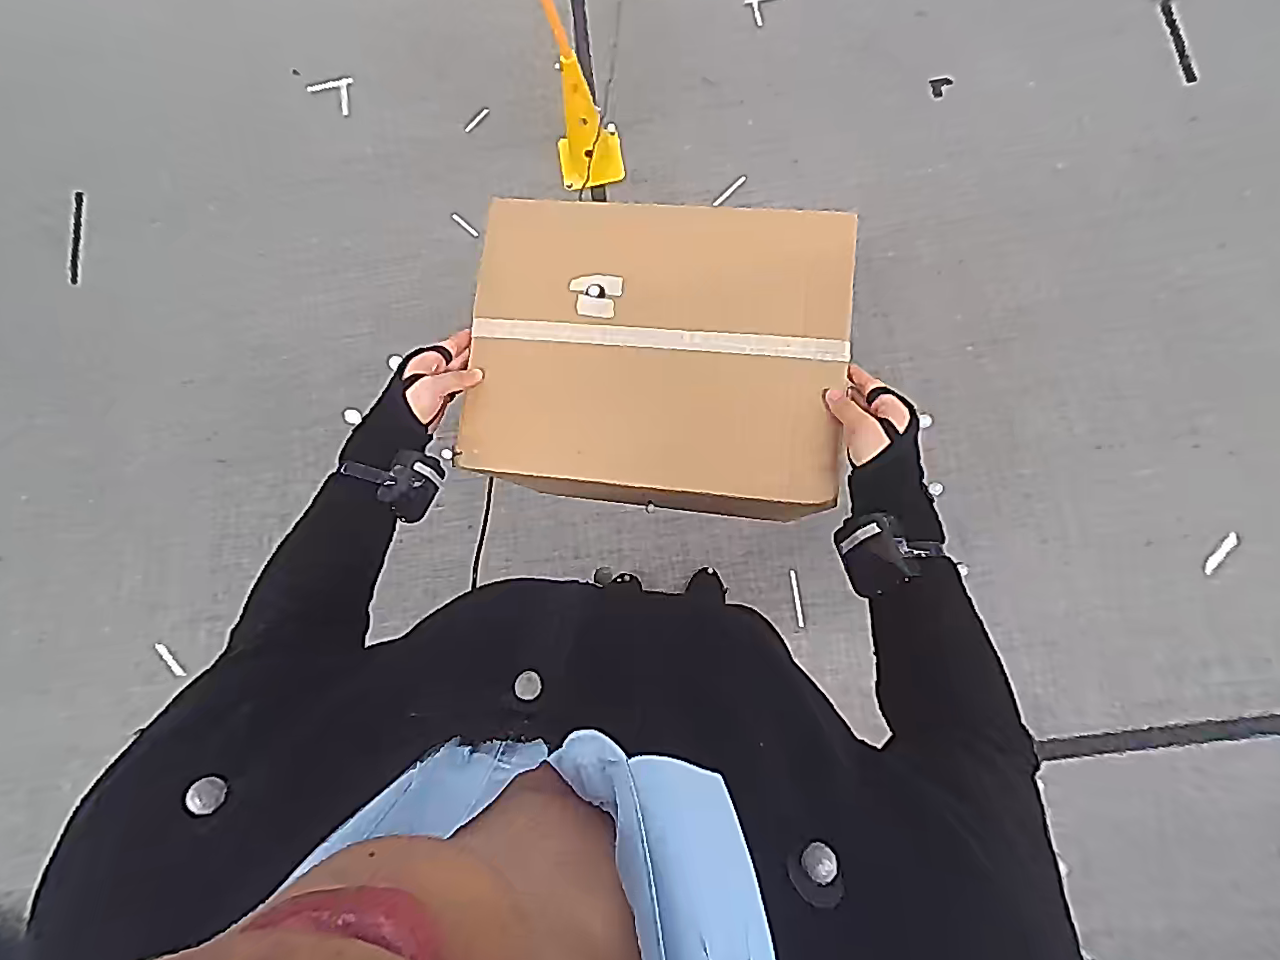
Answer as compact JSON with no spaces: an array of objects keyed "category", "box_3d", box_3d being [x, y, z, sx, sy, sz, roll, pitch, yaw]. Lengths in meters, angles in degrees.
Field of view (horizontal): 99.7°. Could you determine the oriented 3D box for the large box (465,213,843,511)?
[{"category":"large box","box_3d":[0.033,-0.130,0.736,0.408,0.320,0.320,5,82,8]}]
